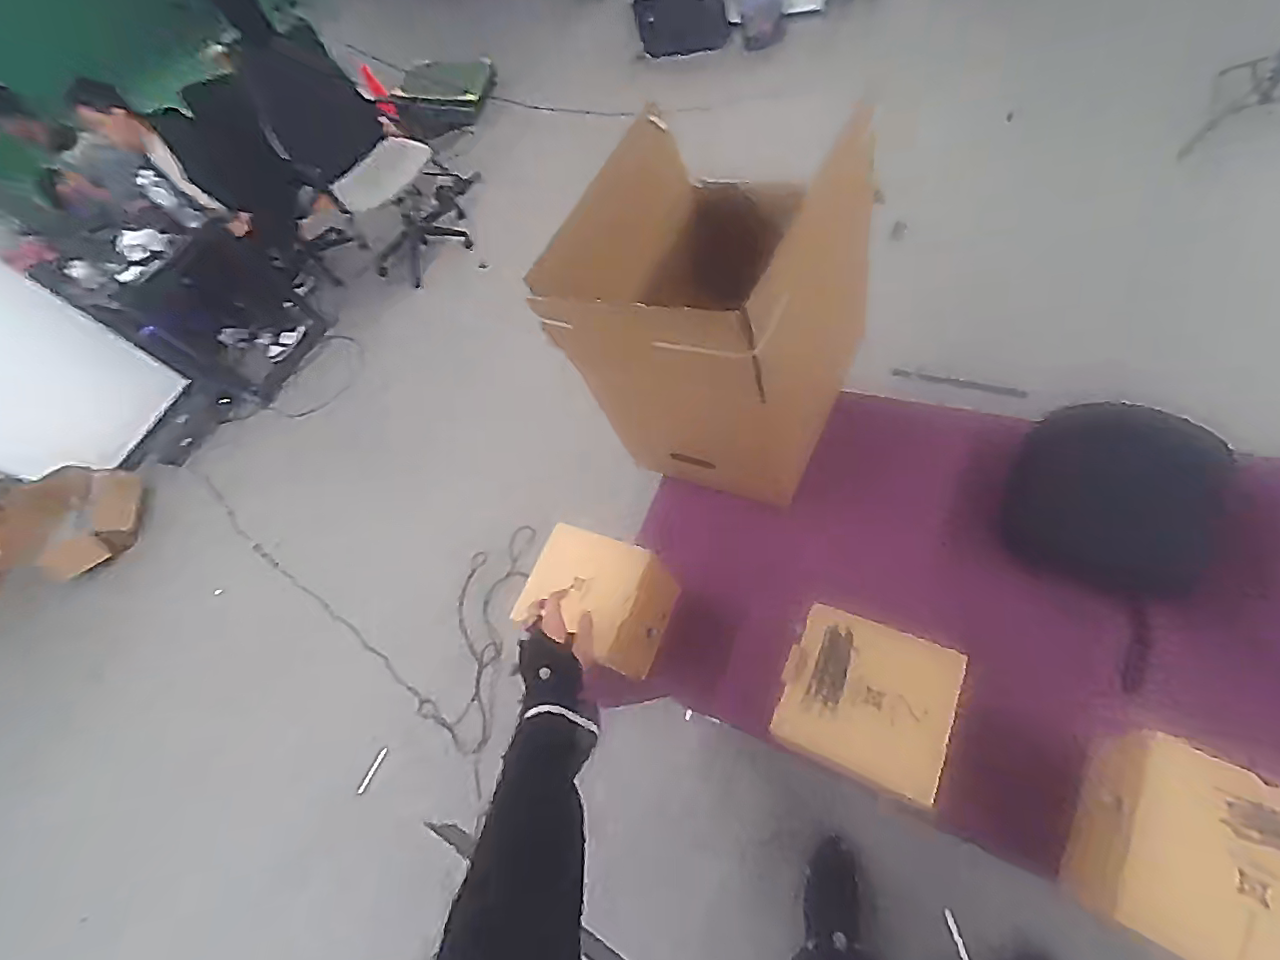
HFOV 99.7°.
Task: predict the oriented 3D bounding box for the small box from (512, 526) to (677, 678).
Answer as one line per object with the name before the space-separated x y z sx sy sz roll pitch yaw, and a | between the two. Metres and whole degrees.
small box | -0.063 0.197 0.858 0.179 0.176 0.168 13 67 26

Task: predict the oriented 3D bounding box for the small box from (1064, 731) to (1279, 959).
small box | 0.547 0.374 0.522 0.168 0.176 0.179 19 70 30
